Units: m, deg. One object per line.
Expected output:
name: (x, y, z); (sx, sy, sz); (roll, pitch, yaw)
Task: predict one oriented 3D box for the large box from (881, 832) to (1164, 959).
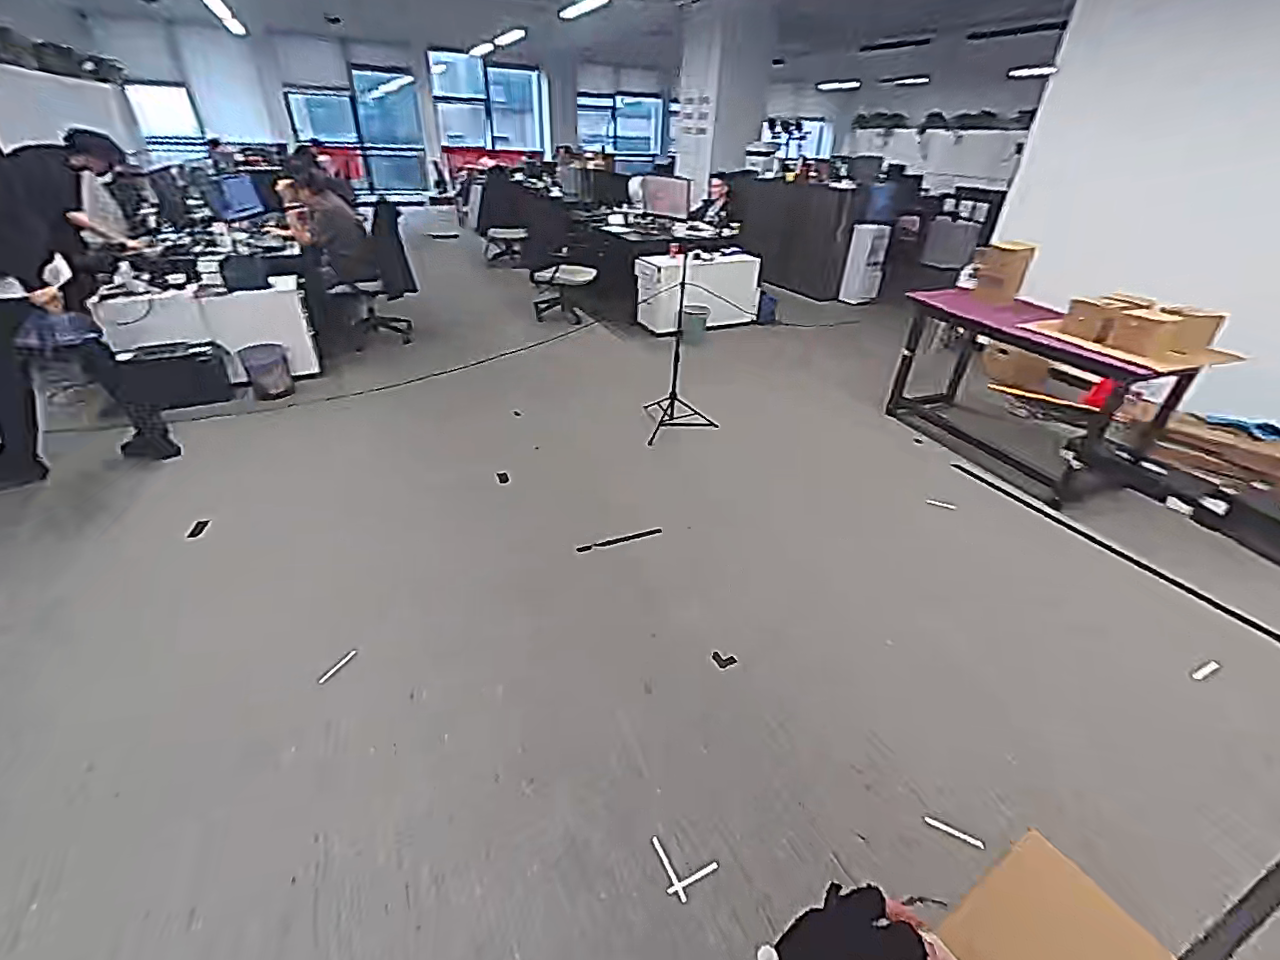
large box: (0.334, 0.591, 0.398); (0.320, 0.320, 0.408); (-21, 42, -24)
